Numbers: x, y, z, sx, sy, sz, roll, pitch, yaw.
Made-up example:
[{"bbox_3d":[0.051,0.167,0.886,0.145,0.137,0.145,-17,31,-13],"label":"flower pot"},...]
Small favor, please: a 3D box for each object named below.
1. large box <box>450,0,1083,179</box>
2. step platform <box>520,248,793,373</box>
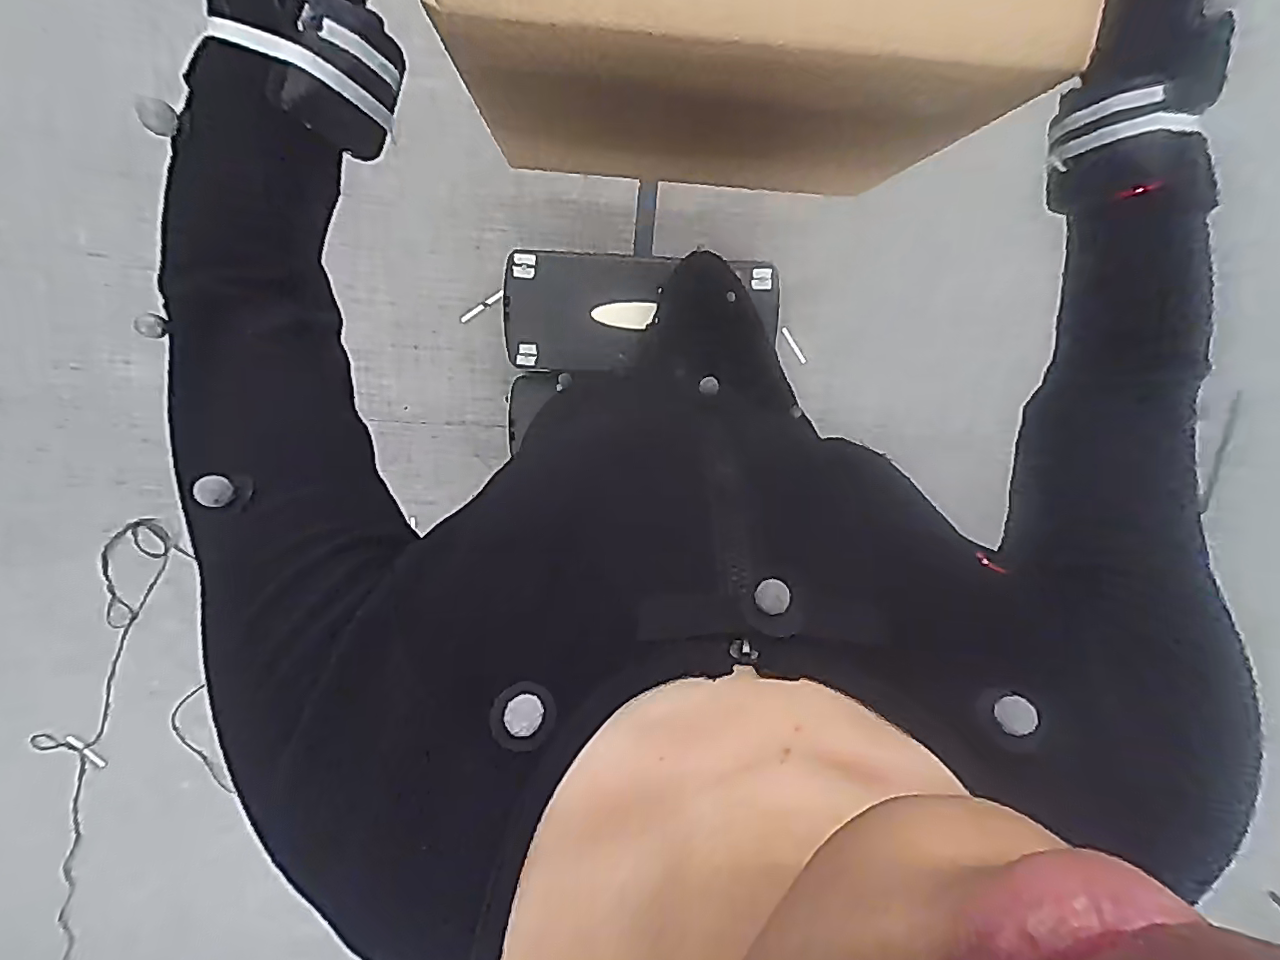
[{"bbox_3d":[0.073,-0.461,0.437,0.408,0.320,0.320,1,106,-5],"label":"large box"},{"bbox_3d":[0.039,-0.428,1.391,0.684,0.204,0.286,0,104,-4],"label":"step platform"}]
